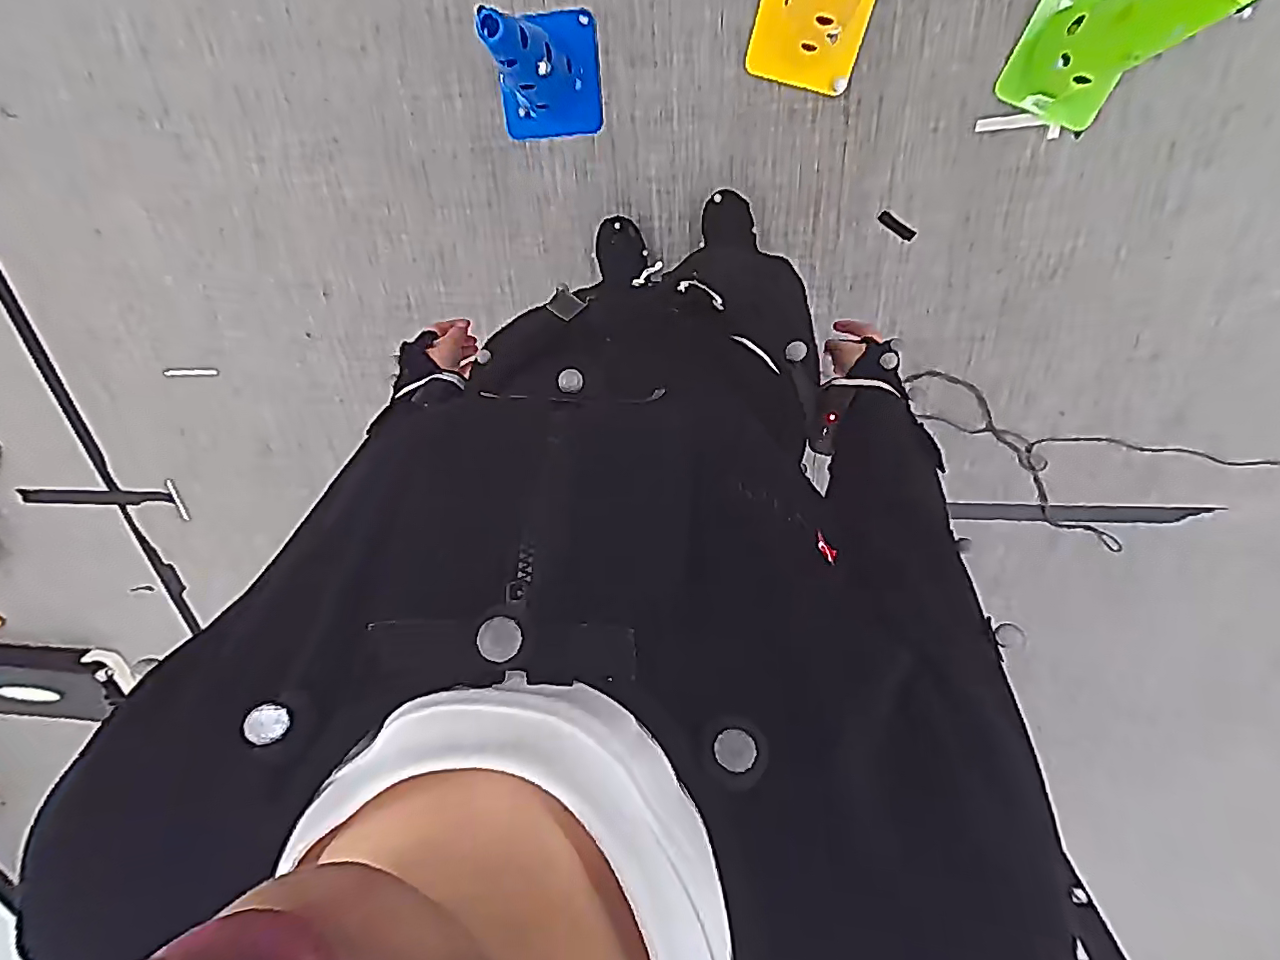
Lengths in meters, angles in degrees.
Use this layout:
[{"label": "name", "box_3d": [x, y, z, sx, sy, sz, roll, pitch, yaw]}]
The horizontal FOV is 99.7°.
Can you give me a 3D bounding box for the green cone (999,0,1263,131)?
[{"label": "green cone", "box_3d": [0.769, -0.689, 0.822, 0.200, 0.368, 0.202, 19, 118, -4]}]
